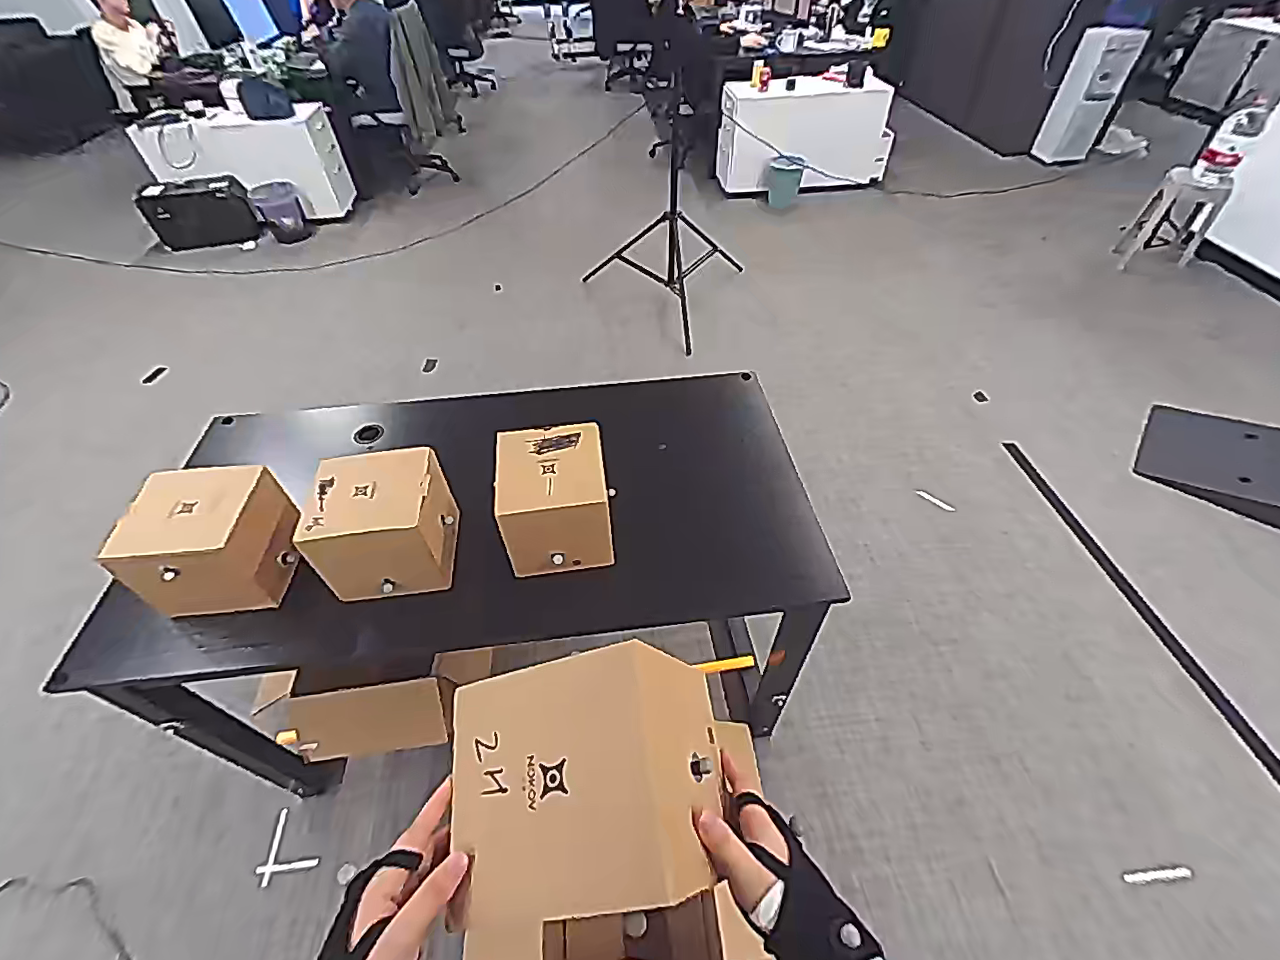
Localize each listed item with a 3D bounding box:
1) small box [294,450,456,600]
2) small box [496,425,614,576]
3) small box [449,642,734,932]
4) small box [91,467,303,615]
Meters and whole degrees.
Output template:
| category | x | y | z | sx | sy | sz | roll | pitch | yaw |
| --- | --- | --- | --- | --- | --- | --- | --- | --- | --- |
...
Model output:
| category | x | y | z | sx | sy | sz | roll | pitch | yaw |
| --- | --- | --- | --- | --- | --- | --- | --- | --- | --- |
| small box | -0.404 | 0.074 | 0.864 | 0.179 | 0.176 | 0.168 | -6 | 47 | -6 |
| small box | -0.136 | 0.033 | 0.893 | 0.168 | 0.176 | 0.179 | -7 | 48 | -5 |
| small box | -0.031 | 0.250 | 0.452 | 0.179 | 0.176 | 0.168 | -20 | 55 | 16 |
| small box | -0.666 | 0.099 | 0.848 | 0.179 | 0.176 | 0.168 | -4 | 48 | -3 |
